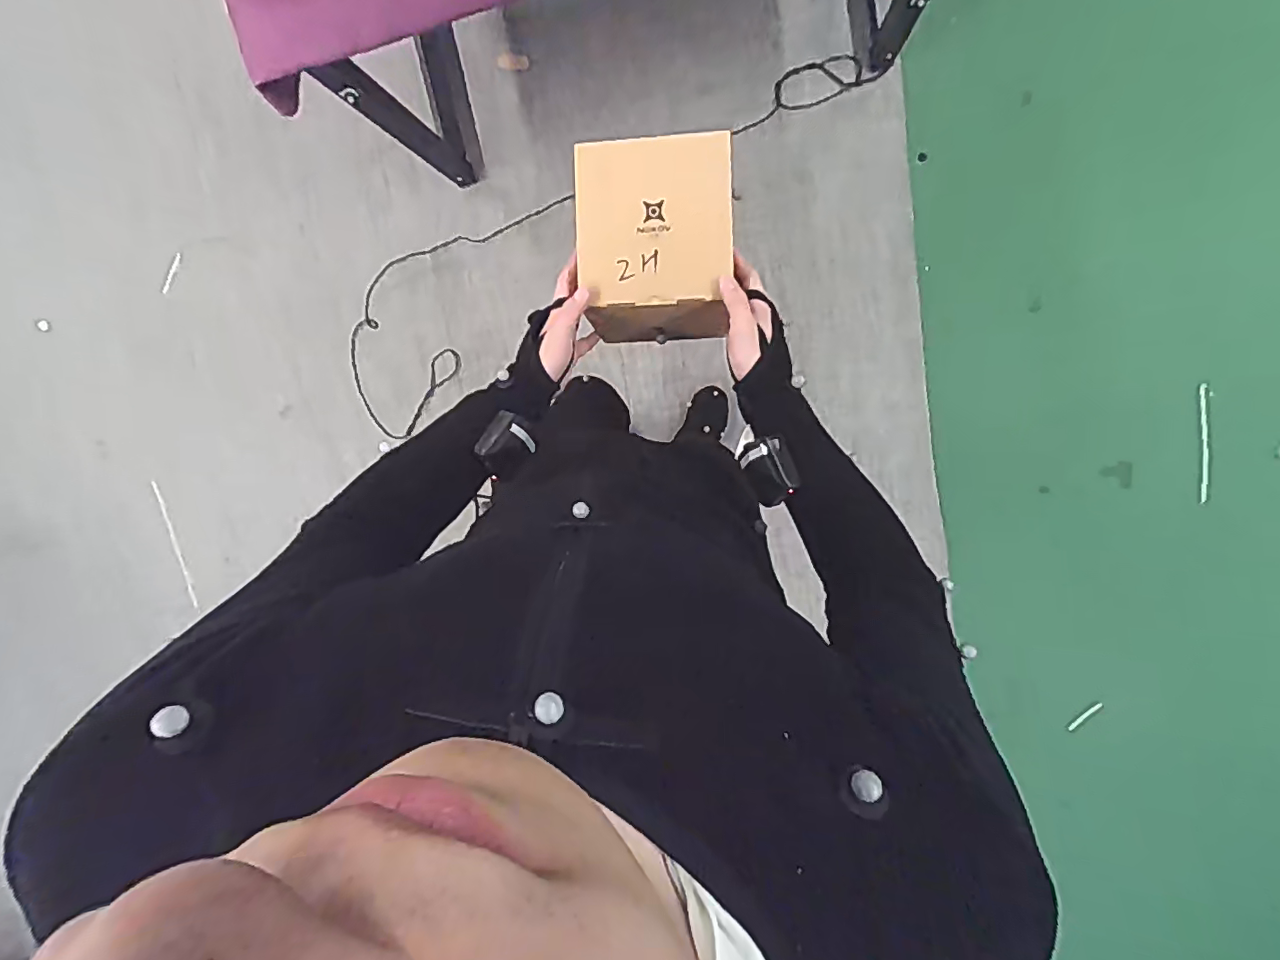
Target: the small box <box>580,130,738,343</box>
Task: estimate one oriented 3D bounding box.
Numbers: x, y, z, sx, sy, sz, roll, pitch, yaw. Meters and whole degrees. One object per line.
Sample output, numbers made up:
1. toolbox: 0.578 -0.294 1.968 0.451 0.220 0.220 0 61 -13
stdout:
1. small box: 0.025 -0.272 0.641 0.168 0.176 0.179 -2 91 6
